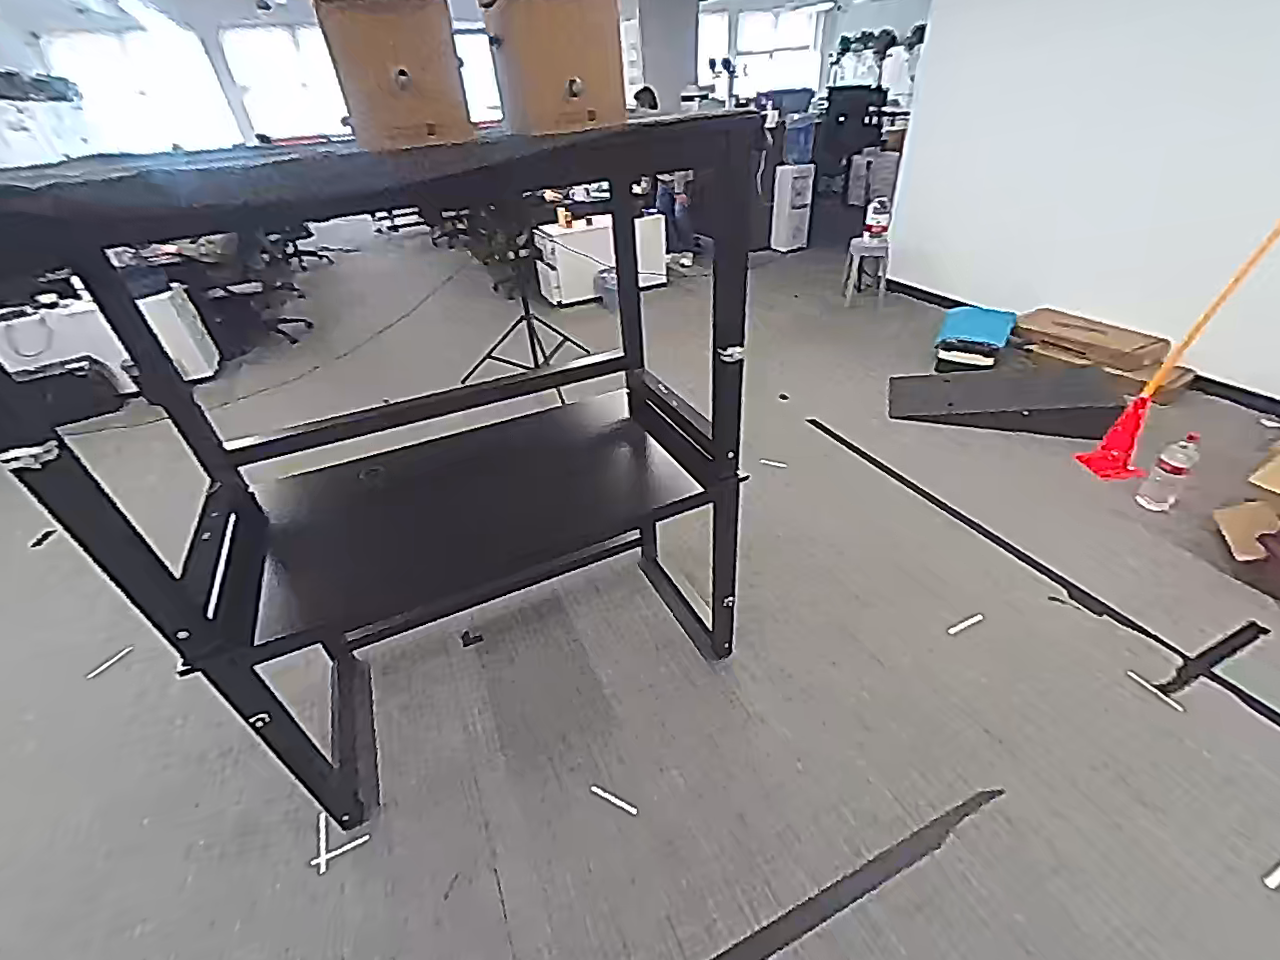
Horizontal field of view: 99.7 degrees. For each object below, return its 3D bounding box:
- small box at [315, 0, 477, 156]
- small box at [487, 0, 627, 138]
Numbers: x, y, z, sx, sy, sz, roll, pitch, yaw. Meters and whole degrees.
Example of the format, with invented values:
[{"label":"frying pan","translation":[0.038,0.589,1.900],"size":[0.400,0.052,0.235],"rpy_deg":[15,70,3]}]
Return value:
[{"label":"small box","translation":[-0.348,-0.581,0.793],"size":[0.168,0.176,0.179],"rpy_deg":[-16,37,-16]},{"label":"small box","translation":[-0.131,-0.649,0.859],"size":[0.168,0.176,0.179],"rpy_deg":[-18,37,-16]}]
